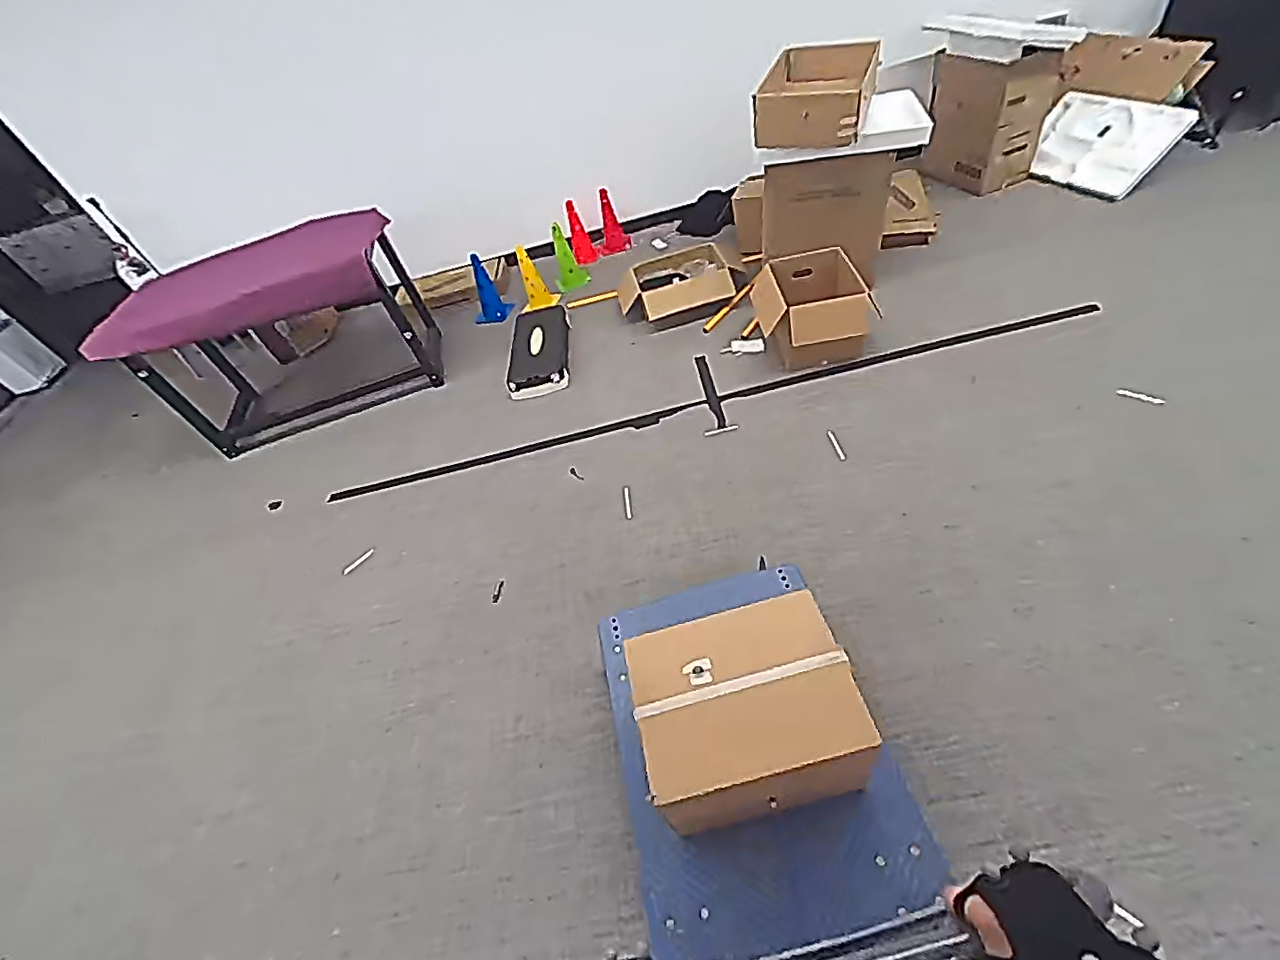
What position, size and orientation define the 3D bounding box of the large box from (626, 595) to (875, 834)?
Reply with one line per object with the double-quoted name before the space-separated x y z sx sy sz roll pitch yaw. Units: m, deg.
"large box" 0.221 0.499 1.142 0.408 0.320 0.320 -17 46 2
